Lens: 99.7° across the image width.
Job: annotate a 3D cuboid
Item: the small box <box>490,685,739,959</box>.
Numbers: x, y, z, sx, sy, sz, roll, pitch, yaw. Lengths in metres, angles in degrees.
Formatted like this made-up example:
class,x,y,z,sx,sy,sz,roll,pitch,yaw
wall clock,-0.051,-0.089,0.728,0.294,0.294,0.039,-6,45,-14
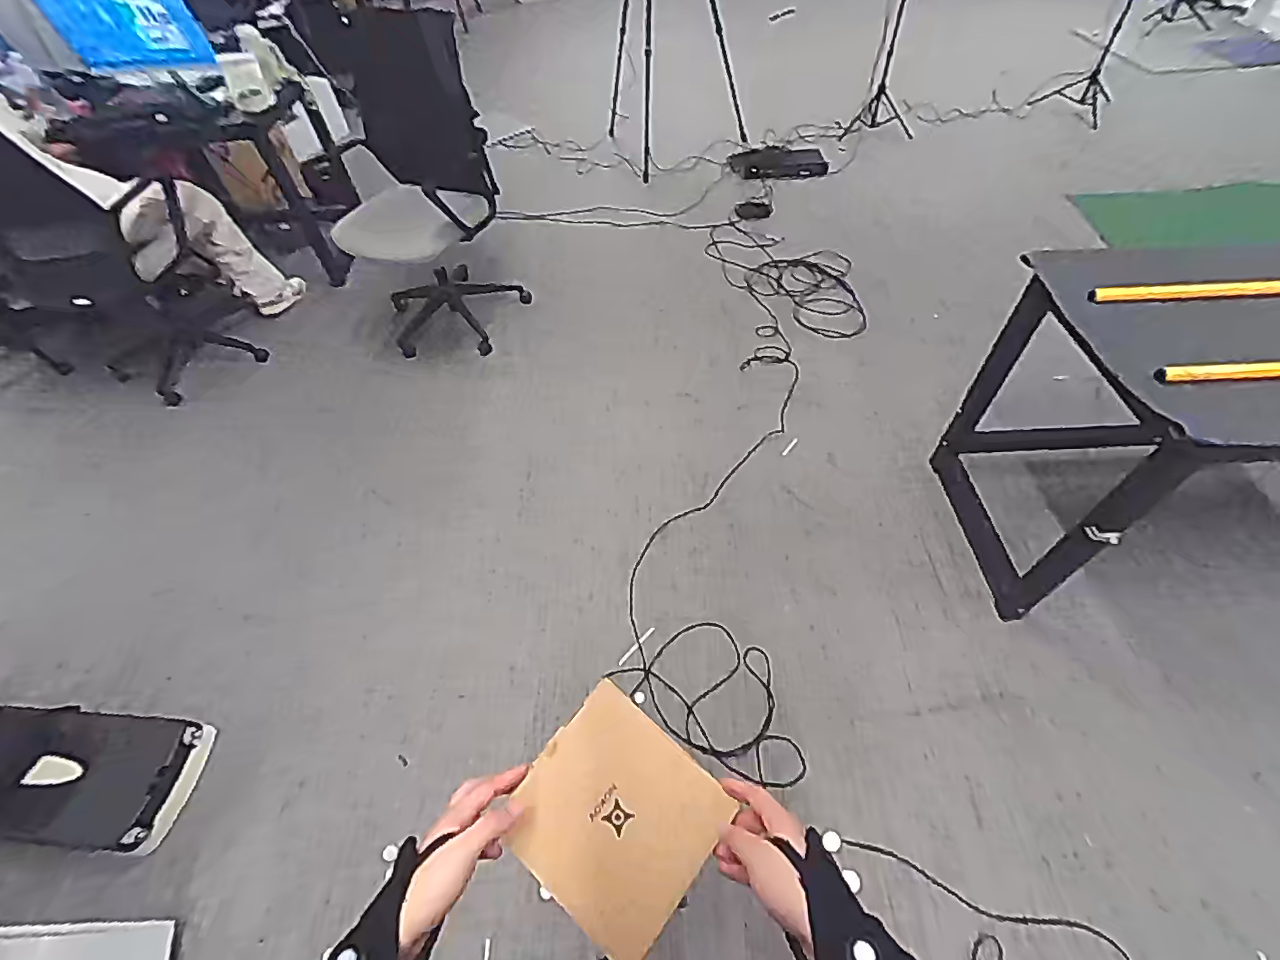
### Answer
class,x,y,z,sx,sy,sz,roll,pitch,yaw
small box,-0.019,0.346,0.570,0.179,0.176,0.168,35,70,20
